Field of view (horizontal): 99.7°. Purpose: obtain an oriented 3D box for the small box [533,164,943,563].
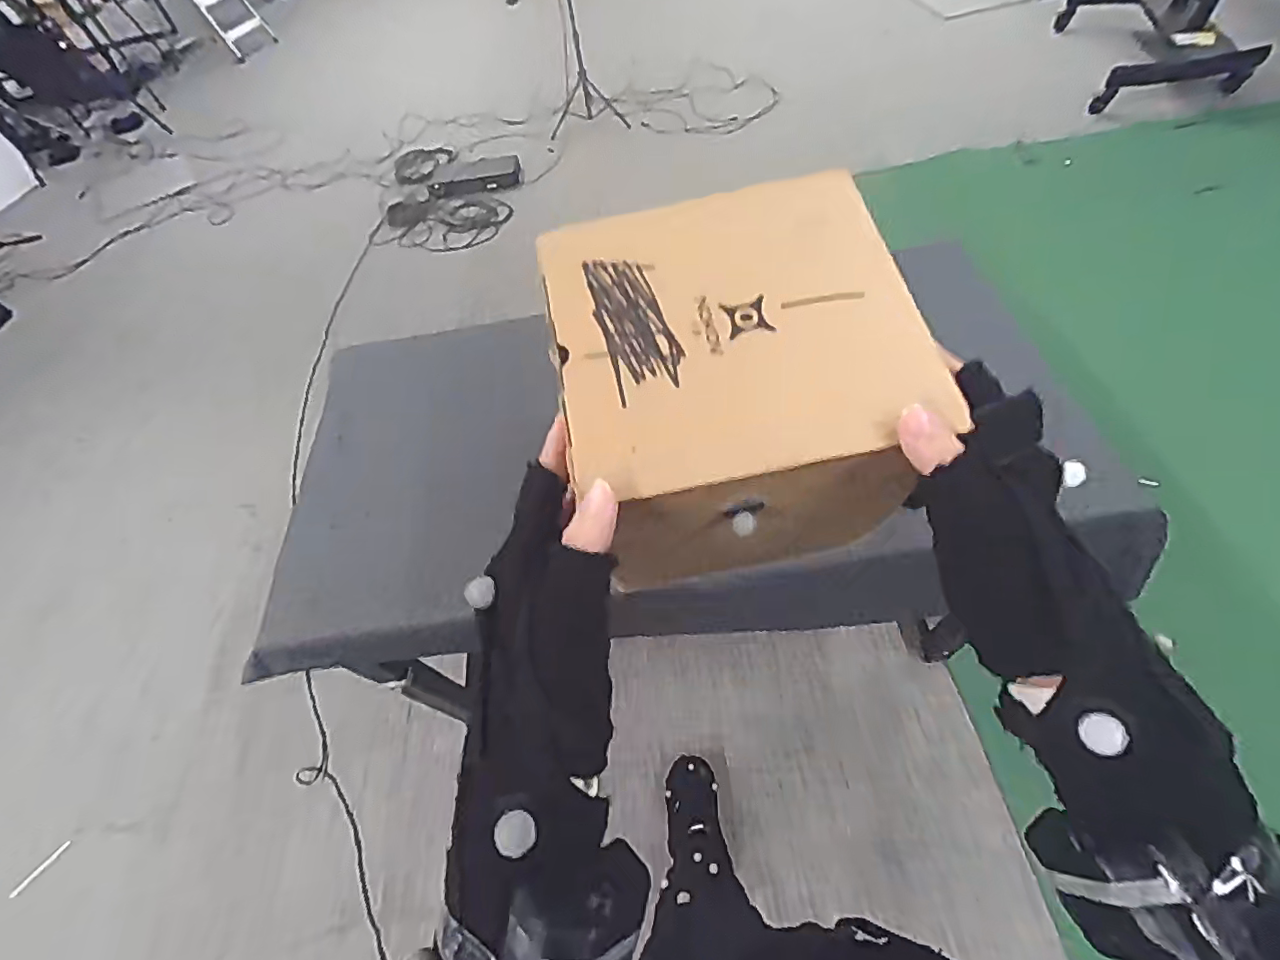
[{"bbox_3d":[0.044,-0.056,0.345,0.179,0.176,0.168,-11,67,0],"label":"small box"}]
